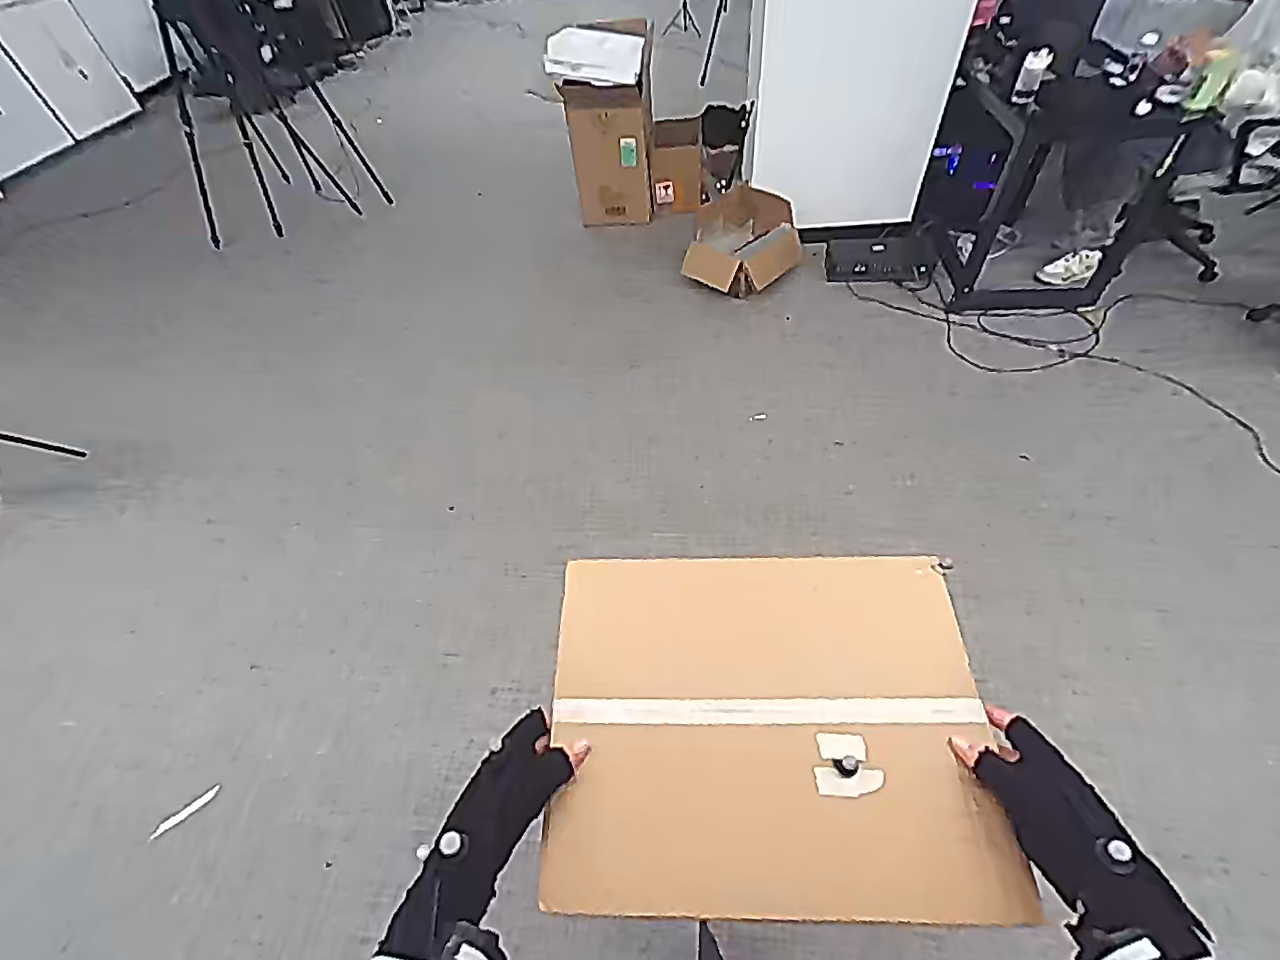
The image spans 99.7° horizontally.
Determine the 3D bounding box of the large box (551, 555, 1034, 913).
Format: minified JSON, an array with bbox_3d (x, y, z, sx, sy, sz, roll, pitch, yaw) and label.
[{"bbox_3d":[0.126,0.296,0.645,0.408,0.320,0.320,-1,59,2],"label":"large box"}]
